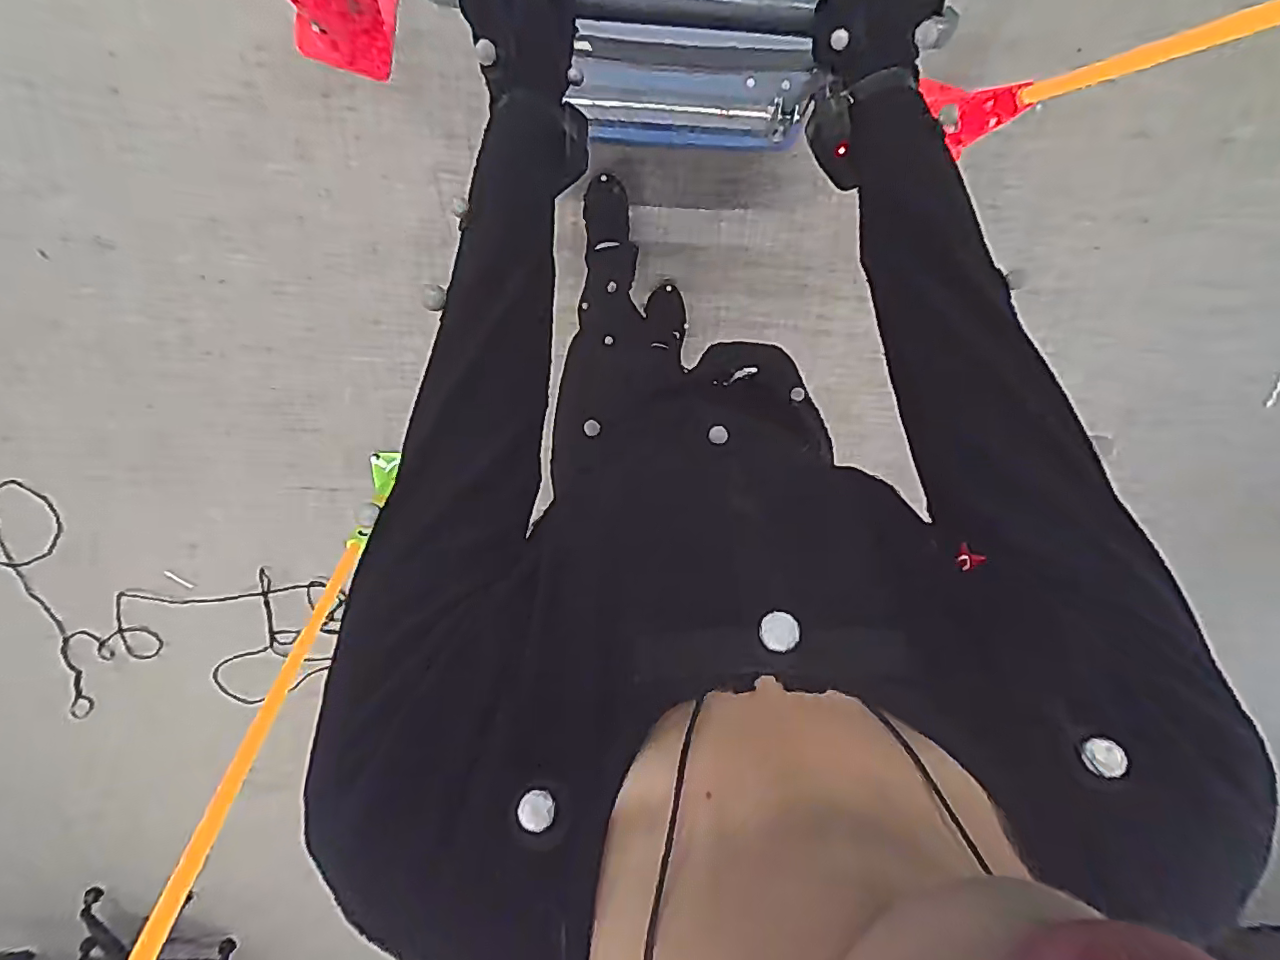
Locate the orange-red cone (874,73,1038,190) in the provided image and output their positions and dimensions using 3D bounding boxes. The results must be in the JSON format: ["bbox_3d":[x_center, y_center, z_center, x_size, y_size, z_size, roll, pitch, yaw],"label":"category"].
[{"bbox_3d":[0.654,-0.720,1.071,0.198,0.360,0.199,14,113,-6],"label":"orange-red cone"}]
